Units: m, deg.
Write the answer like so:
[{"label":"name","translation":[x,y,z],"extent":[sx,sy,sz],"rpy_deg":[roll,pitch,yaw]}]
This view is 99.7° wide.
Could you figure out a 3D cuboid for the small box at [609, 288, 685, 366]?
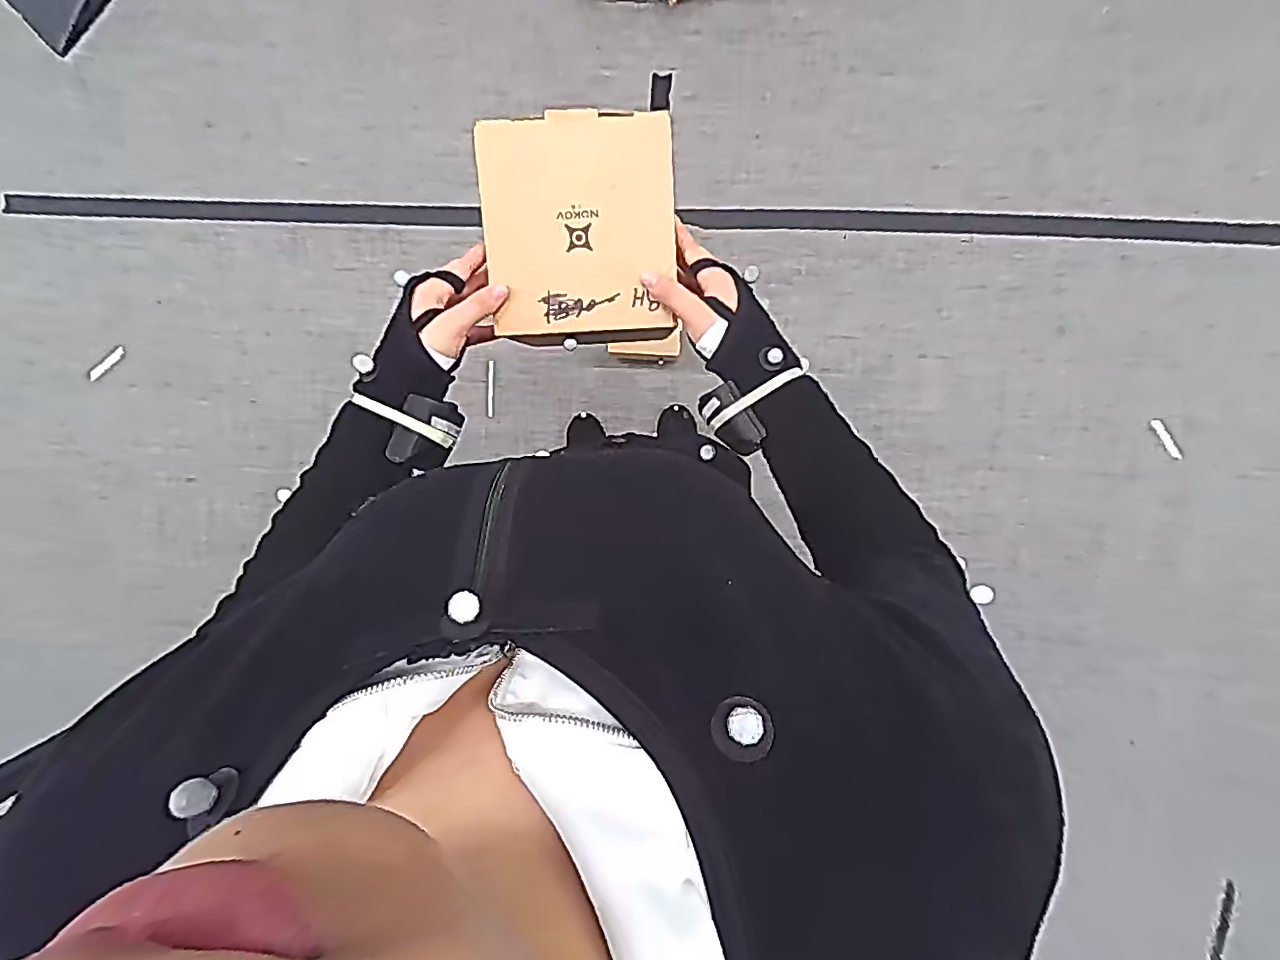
[{"label":"small box","translation":[0.018,-0.380,1.366],"extent":[0.179,0.176,0.168],"rpy_deg":[3,97,3]}]
